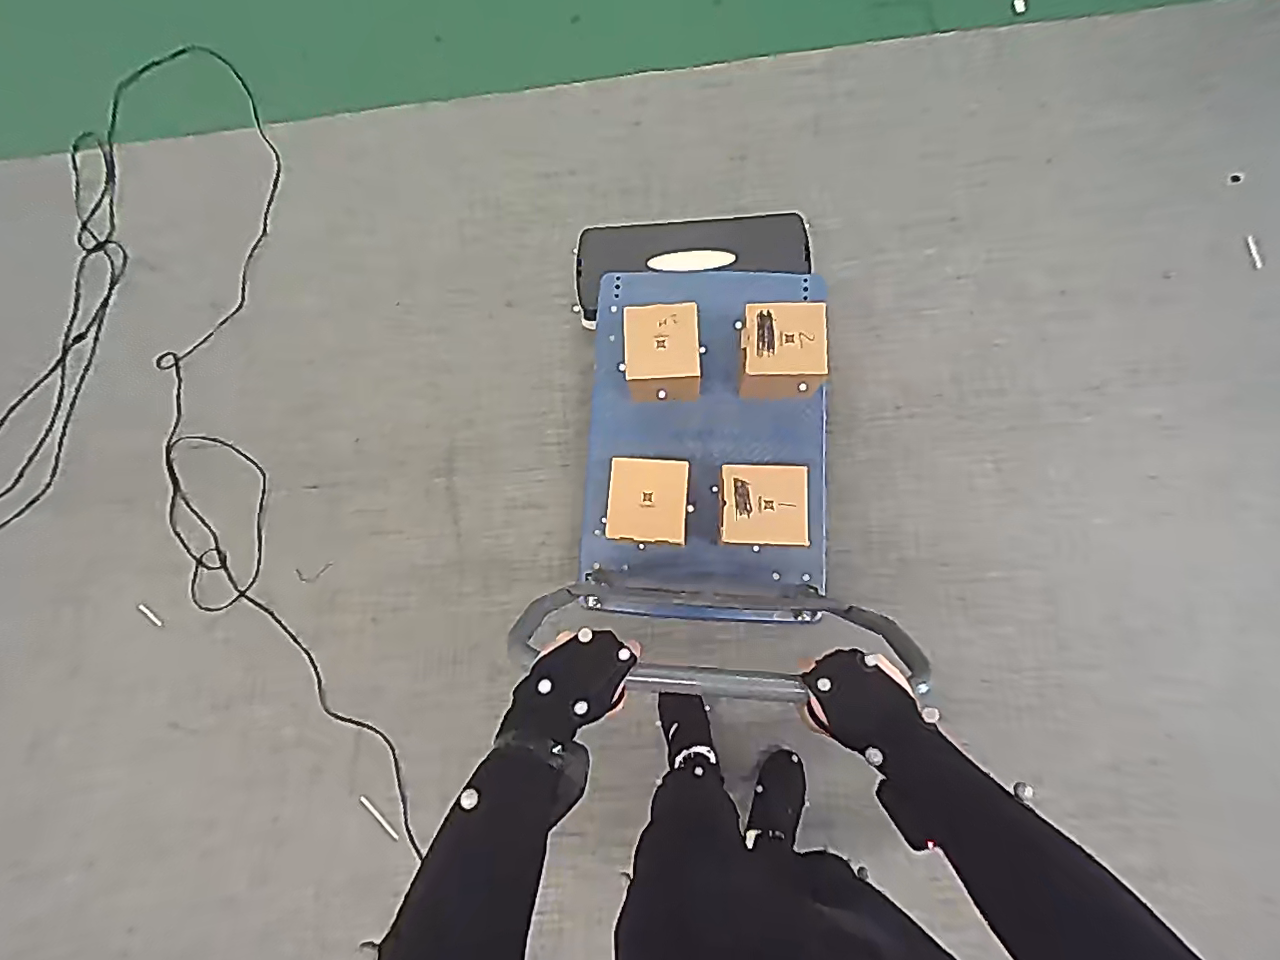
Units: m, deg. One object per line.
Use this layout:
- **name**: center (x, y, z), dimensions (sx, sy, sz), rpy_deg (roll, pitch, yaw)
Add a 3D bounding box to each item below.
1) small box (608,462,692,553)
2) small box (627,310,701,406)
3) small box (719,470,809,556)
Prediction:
- **small box**: center (0.026, 0.067, 1.215), dimensions (0.168, 0.176, 0.179), rpy_deg (4, 80, 5)
- **small box**: center (0.059, -0.279, 1.277), dimensions (0.168, 0.176, 0.179), rpy_deg (-2, 79, 4)
- **small box**: center (0.266, 0.078, 1.190), dimensions (0.179, 0.176, 0.168), rpy_deg (2, 80, 5)
